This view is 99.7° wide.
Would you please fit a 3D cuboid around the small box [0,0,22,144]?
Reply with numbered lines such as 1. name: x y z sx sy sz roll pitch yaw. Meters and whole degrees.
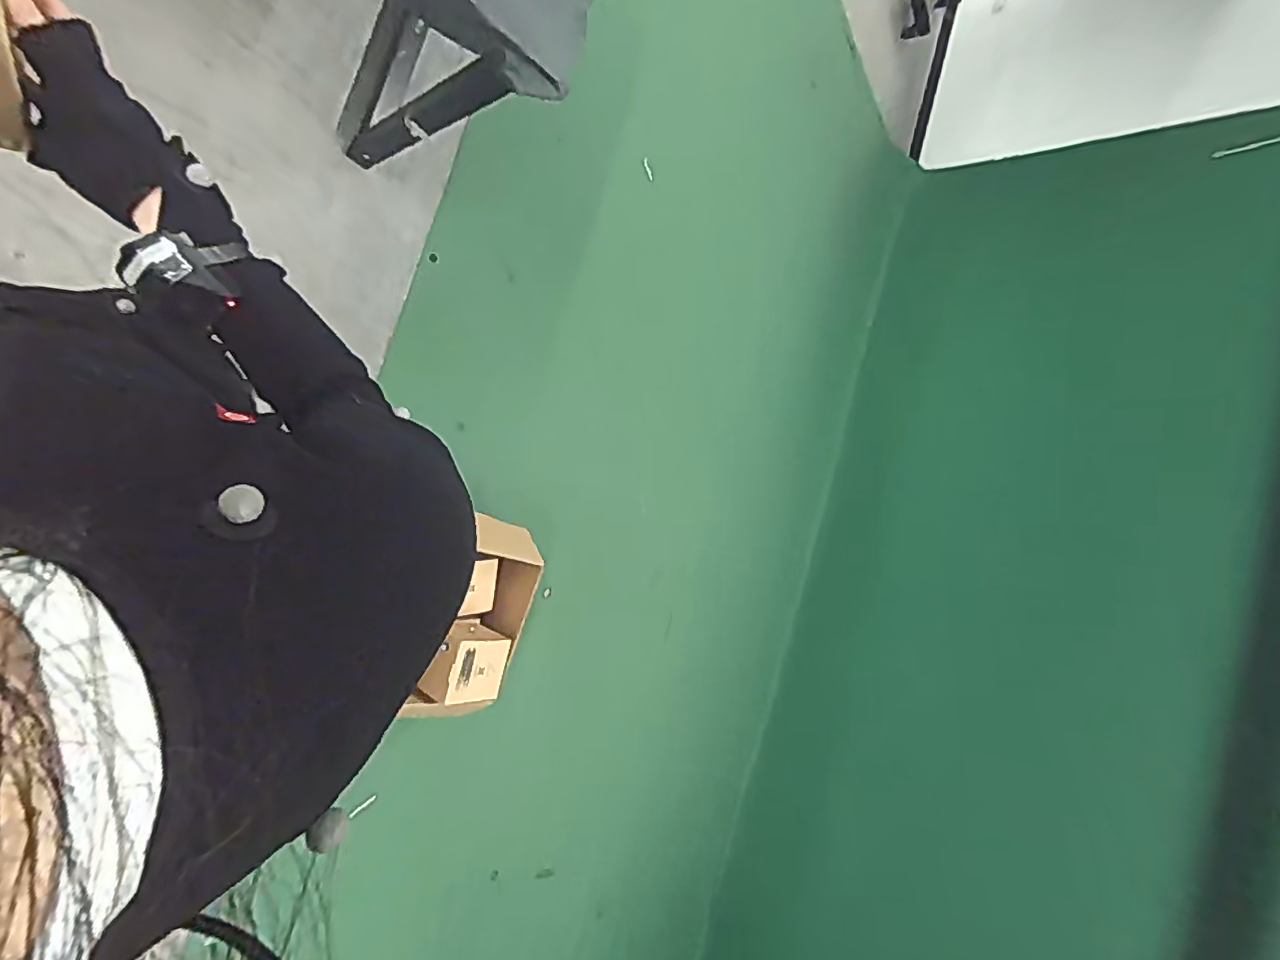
1. small box: -0.477 -0.329 0.295 0.168 0.176 0.179 -8 98 -44
